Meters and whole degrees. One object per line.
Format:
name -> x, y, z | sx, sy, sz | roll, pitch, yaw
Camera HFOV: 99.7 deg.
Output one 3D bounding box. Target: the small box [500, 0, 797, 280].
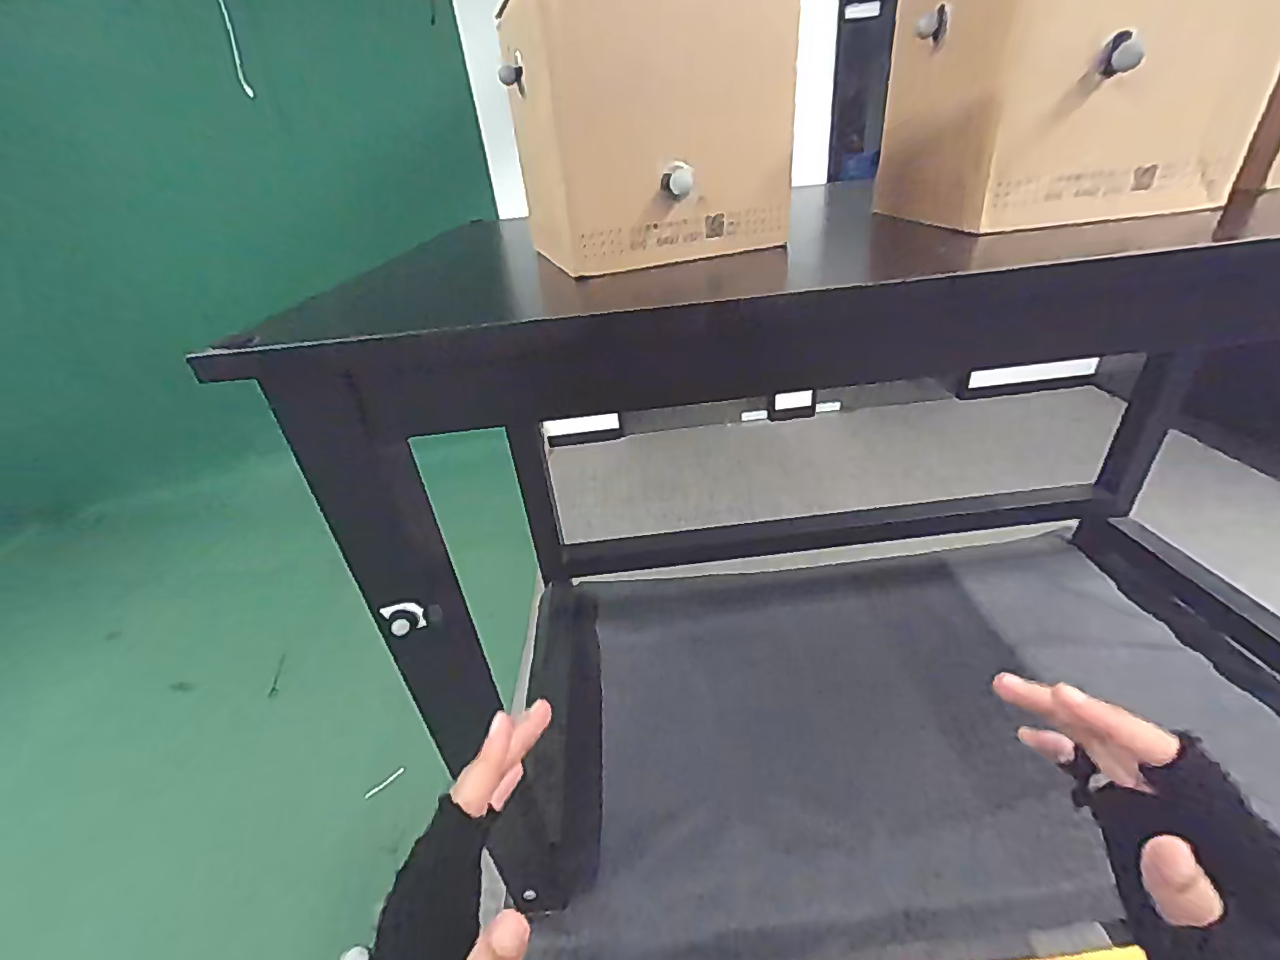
small box -> -0.002, -0.259, 0.413 | 0.168, 0.176, 0.179 | -14, 33, -13
